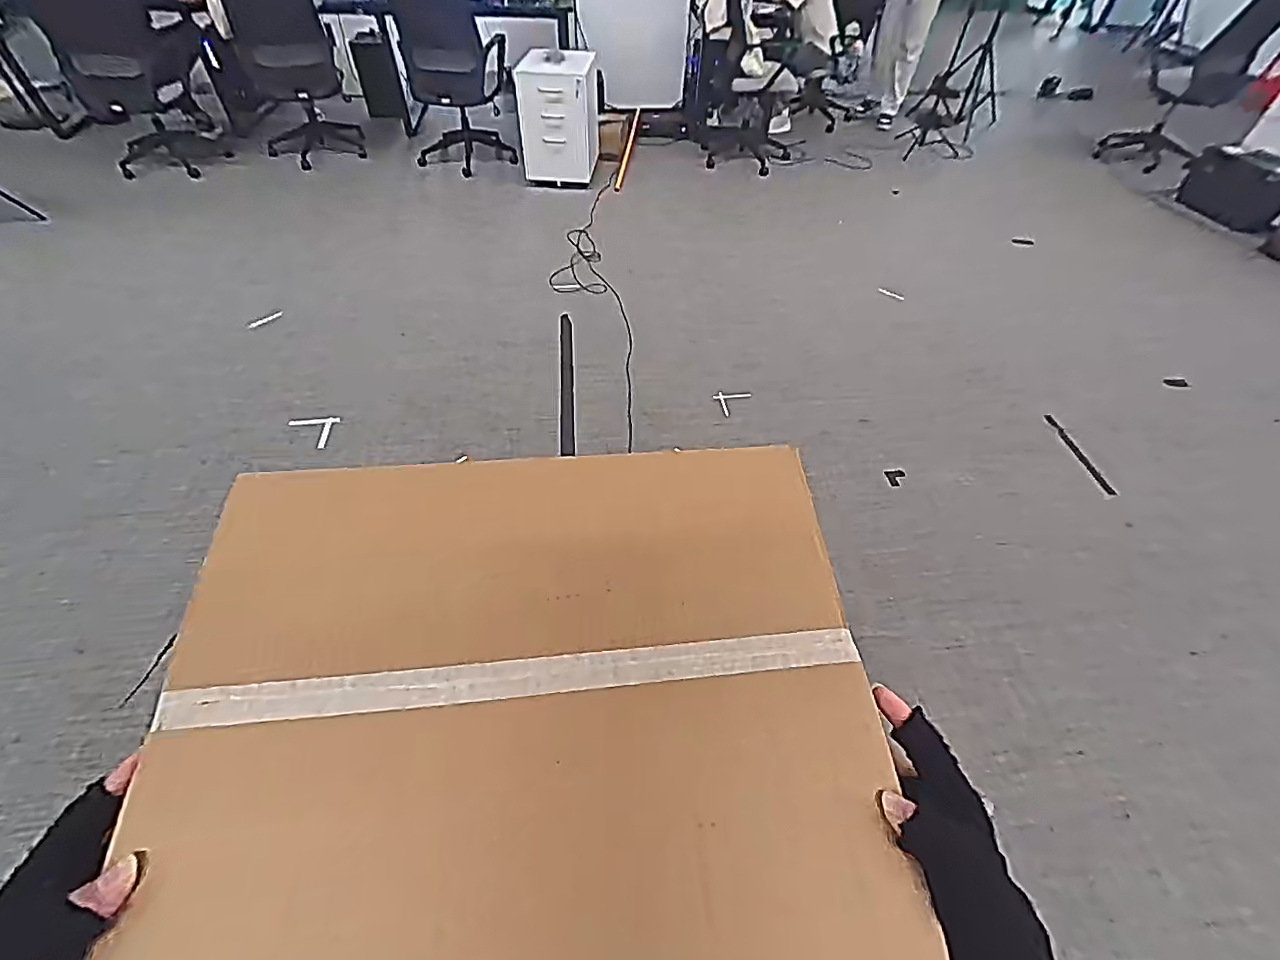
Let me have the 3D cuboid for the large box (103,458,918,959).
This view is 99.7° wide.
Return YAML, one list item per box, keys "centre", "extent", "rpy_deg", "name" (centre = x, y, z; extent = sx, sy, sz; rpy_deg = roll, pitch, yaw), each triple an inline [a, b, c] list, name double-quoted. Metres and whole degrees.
- centre: [-0.075, 0.204, 0.456]
  extent: [0.408, 0.320, 0.320]
  rpy_deg: [-4, 58, -5]
  name: "large box"
